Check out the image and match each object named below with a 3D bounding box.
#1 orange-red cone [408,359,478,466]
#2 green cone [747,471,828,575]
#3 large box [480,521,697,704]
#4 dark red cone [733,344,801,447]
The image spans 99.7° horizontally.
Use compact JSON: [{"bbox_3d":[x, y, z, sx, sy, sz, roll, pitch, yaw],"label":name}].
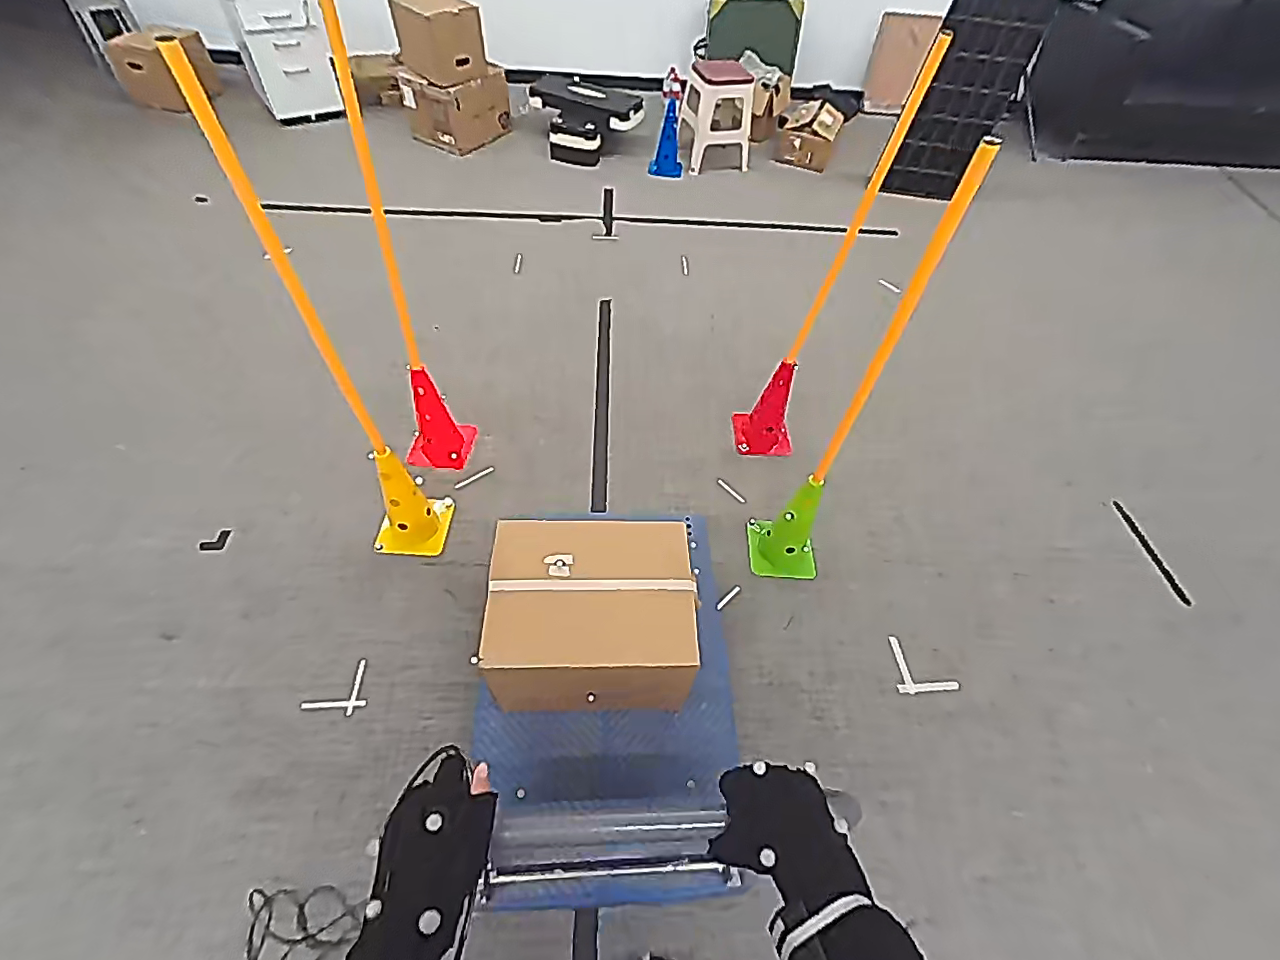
[{"bbox_3d":[-0.661,-0.239,1.730,0.198,0.360,0.199,8,51,0],"label":"orange-red cone"},{"bbox_3d":[0.456,0.102,1.571,0.202,0.368,0.200,5,53,-3],"label":"green cone"},{"bbox_3d":[-0.104,0.299,1.194,0.408,0.320,0.320,1,54,-4],"label":"large box"},{"bbox_3d":[0.466,-0.296,1.849,0.201,0.394,0.202,2,53,-6],"label":"dark red cone"}]
